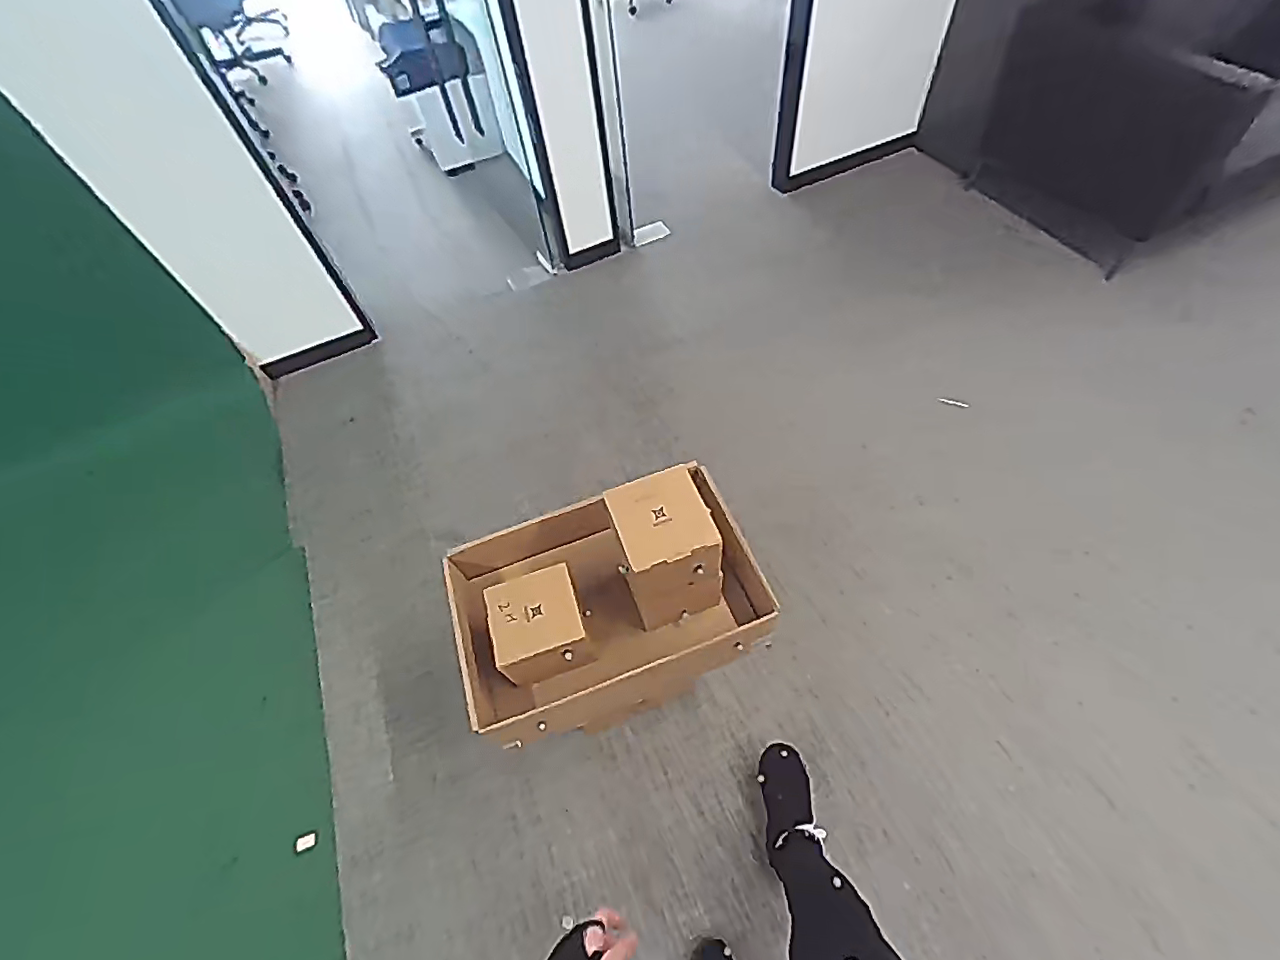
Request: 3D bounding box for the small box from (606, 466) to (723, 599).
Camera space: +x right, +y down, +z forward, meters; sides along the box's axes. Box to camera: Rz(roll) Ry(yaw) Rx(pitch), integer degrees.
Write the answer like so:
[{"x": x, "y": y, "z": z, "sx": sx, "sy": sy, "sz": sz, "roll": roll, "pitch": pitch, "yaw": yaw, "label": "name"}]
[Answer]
[{"x": 0.048, "y": 0.108, "z": 1.021, "sx": 0.168, "sy": 0.176, "sz": 0.179, "roll": -19, "pitch": 57, "yaw": -7, "label": "small box"}]
